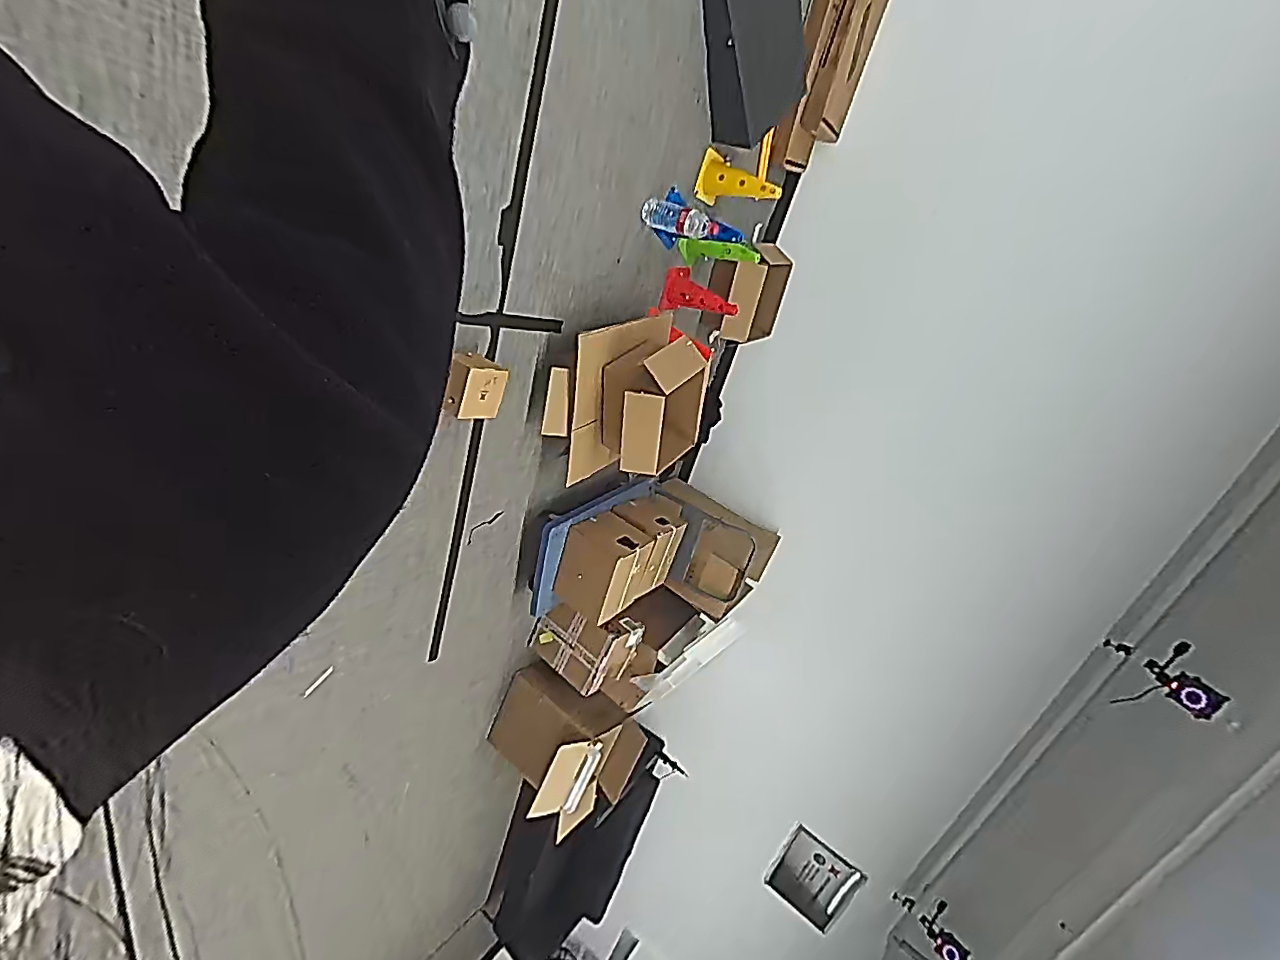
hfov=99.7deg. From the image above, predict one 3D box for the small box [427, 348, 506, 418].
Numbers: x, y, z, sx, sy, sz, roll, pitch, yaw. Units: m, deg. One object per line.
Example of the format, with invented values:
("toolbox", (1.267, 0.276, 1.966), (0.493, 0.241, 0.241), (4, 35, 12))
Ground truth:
("small box", (-0.579, -0.319, 1.789), (0.168, 0.176, 0.179), (-13, 128, -58))
